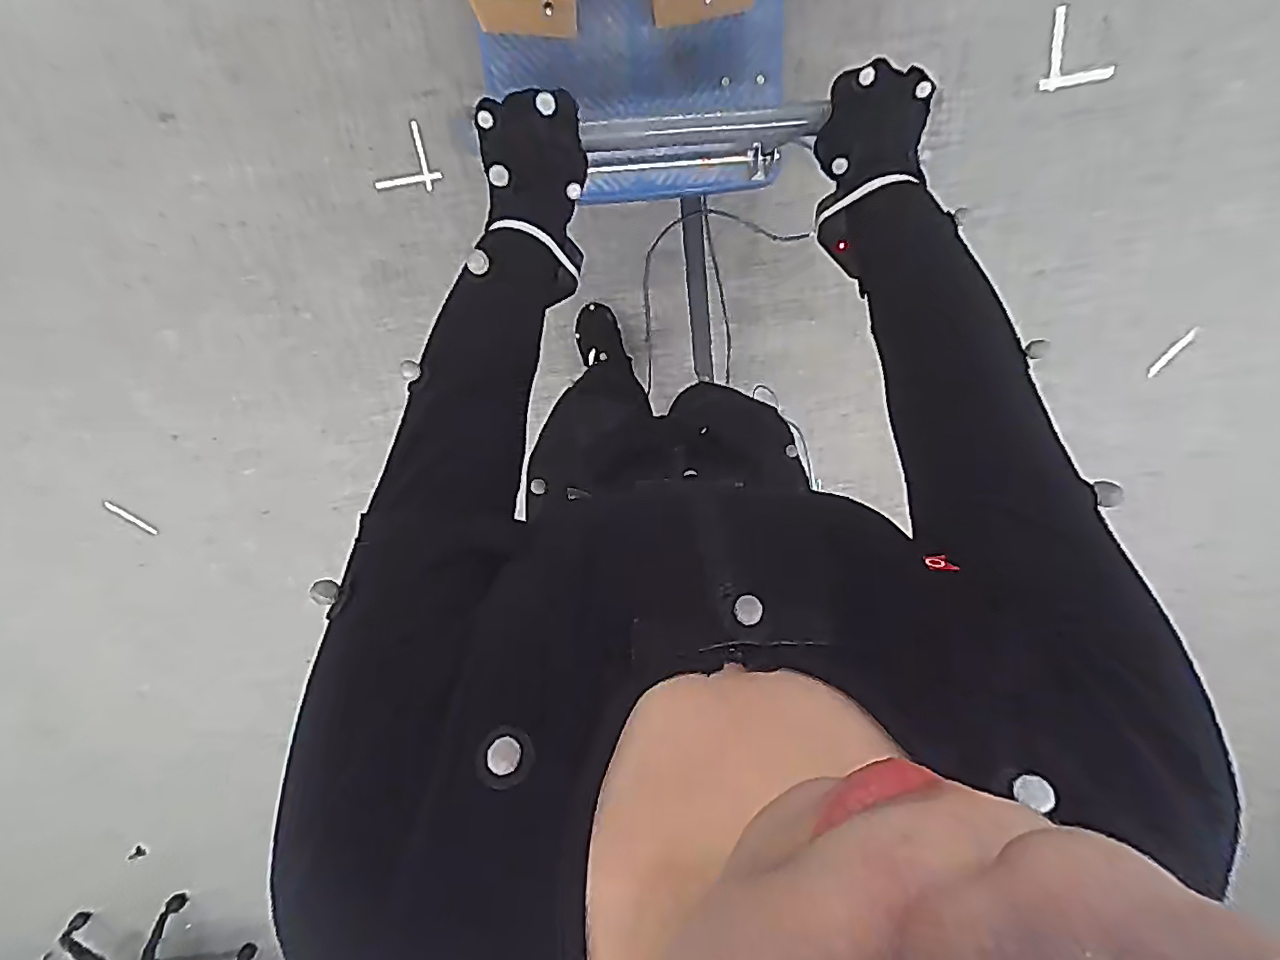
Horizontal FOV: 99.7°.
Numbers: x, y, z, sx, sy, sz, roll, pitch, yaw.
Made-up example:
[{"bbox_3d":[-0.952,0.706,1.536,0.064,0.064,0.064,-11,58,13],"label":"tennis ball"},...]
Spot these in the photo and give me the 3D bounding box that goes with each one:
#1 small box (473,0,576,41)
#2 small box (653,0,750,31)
[{"bbox_3d":[-0.198,-0.873,0.911,0.179,0.176,0.168,-1,111,-6],"label":"small box"},{"bbox_3d":[0.106,-0.906,0.920,0.179,0.176,0.168,-11,112,0],"label":"small box"}]
